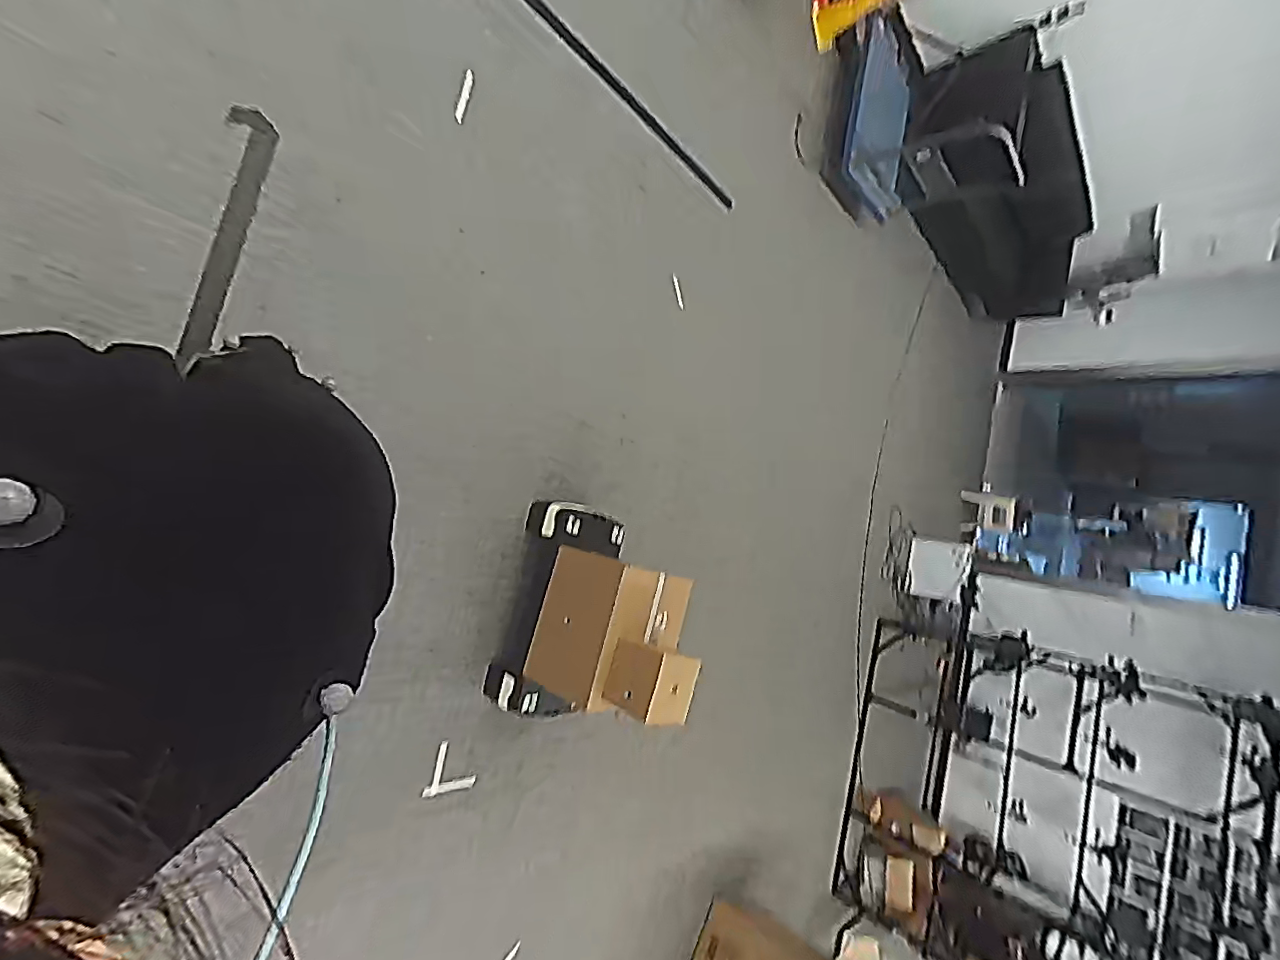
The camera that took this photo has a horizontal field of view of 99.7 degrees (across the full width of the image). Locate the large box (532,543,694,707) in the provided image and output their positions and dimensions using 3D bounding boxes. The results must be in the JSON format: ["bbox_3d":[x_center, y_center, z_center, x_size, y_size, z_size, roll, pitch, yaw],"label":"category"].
[{"bbox_3d":[-0.083,0.435,1.651,0.320,0.320,0.408,22,78,-44],"label":"large box"}]

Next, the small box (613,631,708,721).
[{"bbox_3d":[0.052,0.524,1.449,0.168,0.176,0.179,26,76,-42],"label":"small box"}]

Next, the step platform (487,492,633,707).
[{"bbox_3d":[-0.253,0.394,1.815,0.286,0.204,0.684,26,76,-43],"label":"step platform"}]
